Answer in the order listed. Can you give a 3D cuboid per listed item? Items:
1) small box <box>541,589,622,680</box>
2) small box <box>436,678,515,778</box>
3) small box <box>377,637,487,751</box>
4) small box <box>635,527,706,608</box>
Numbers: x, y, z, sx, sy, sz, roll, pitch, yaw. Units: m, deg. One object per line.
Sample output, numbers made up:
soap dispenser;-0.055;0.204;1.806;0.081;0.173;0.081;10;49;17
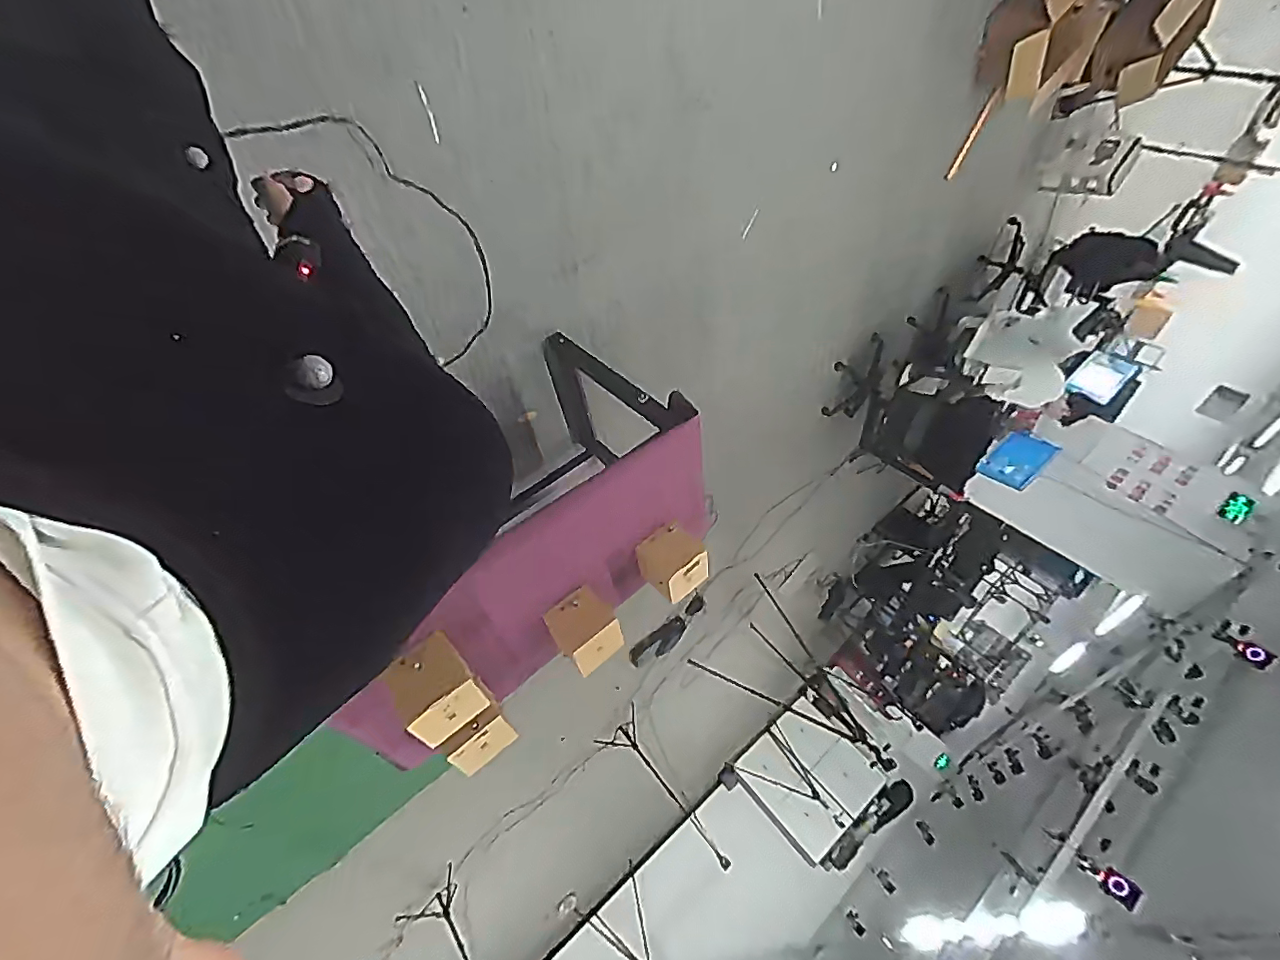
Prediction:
small box;-0.177;0.467;1.652;0.168;0.176;0.179;-35;142;-22
small box;-0.483;0.692;1.518;0.168;0.176;0.179;-36;143;-21
small box;-0.507;0.519;1.322;0.168;0.176;0.179;-35;144;-23
small box;0.100;0.280;1.780;0.168;0.176;0.179;-35;143;-20
